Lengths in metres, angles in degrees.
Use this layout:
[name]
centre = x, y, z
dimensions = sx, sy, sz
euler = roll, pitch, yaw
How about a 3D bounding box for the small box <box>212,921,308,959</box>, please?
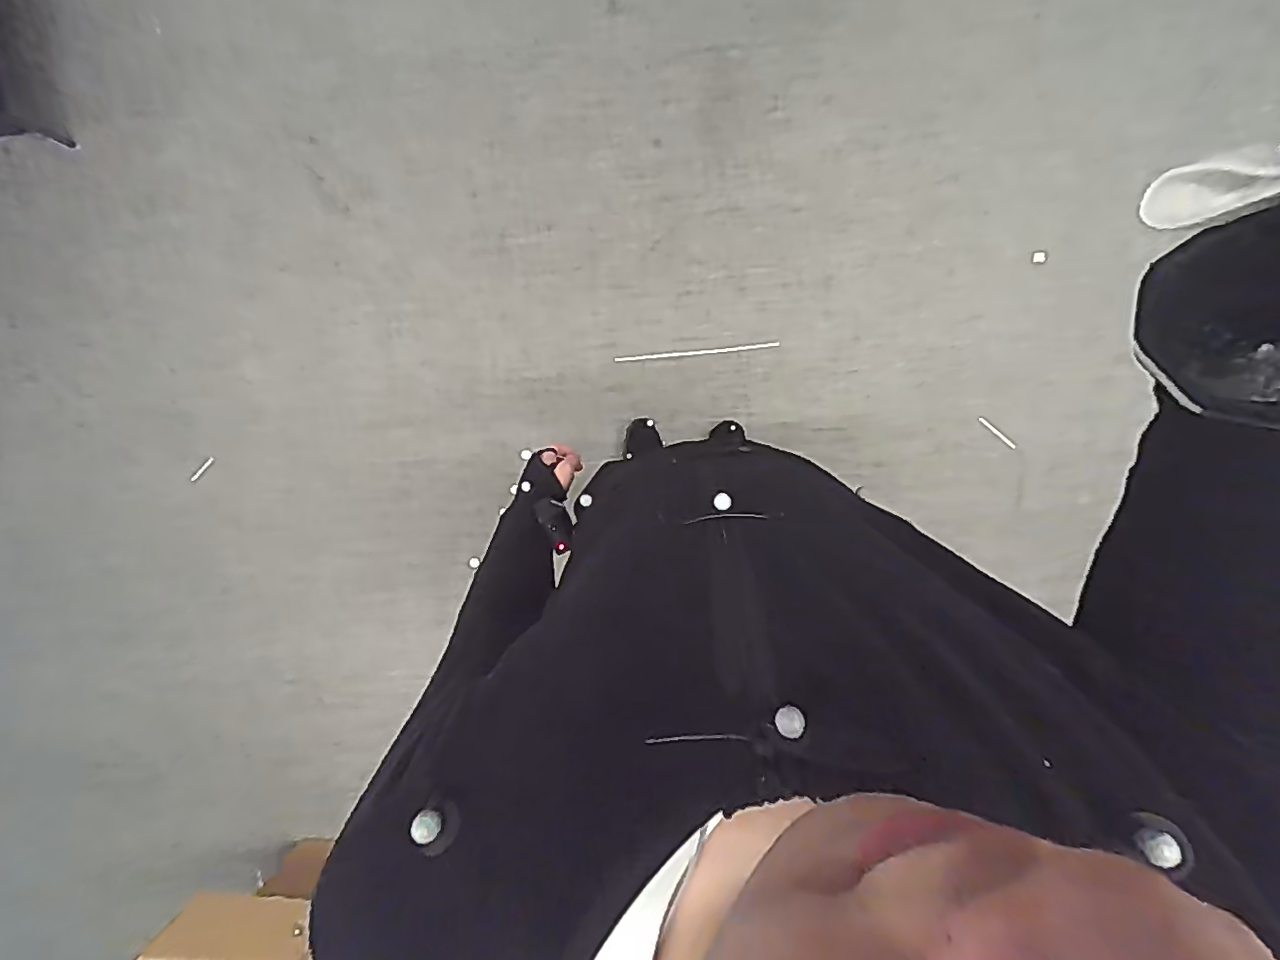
[small box]
centre = -0.967, 1.249, 1.343
dimensions = 0.179, 0.176, 0.168
euler = 7, 98, 2
